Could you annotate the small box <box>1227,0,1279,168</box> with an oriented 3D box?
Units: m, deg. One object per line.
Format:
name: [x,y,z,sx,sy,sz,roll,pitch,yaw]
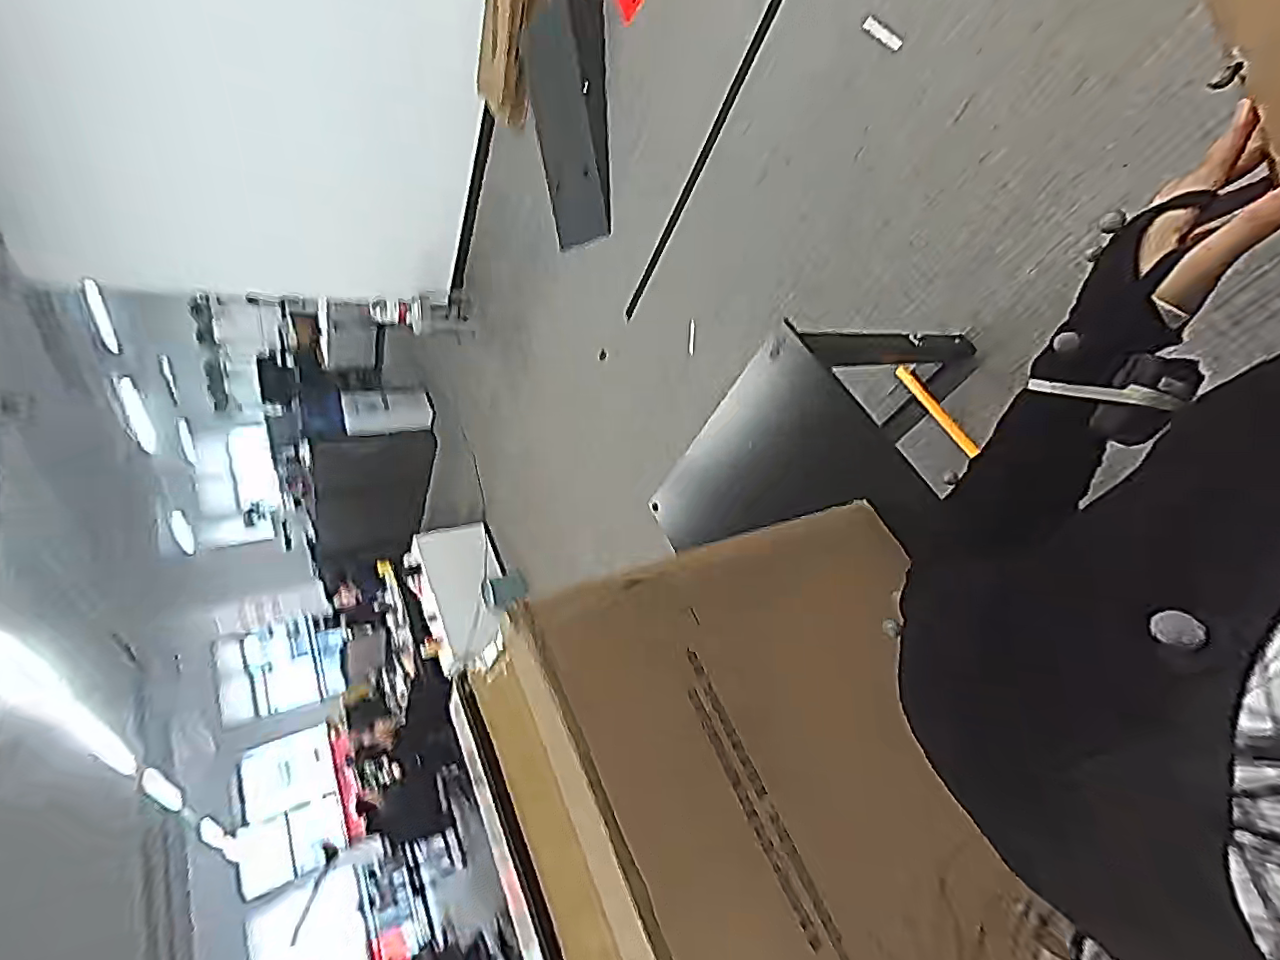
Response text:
small box: [0.458,-0.288,0.296,0.168,0.176,0.179,-17,98,51]
